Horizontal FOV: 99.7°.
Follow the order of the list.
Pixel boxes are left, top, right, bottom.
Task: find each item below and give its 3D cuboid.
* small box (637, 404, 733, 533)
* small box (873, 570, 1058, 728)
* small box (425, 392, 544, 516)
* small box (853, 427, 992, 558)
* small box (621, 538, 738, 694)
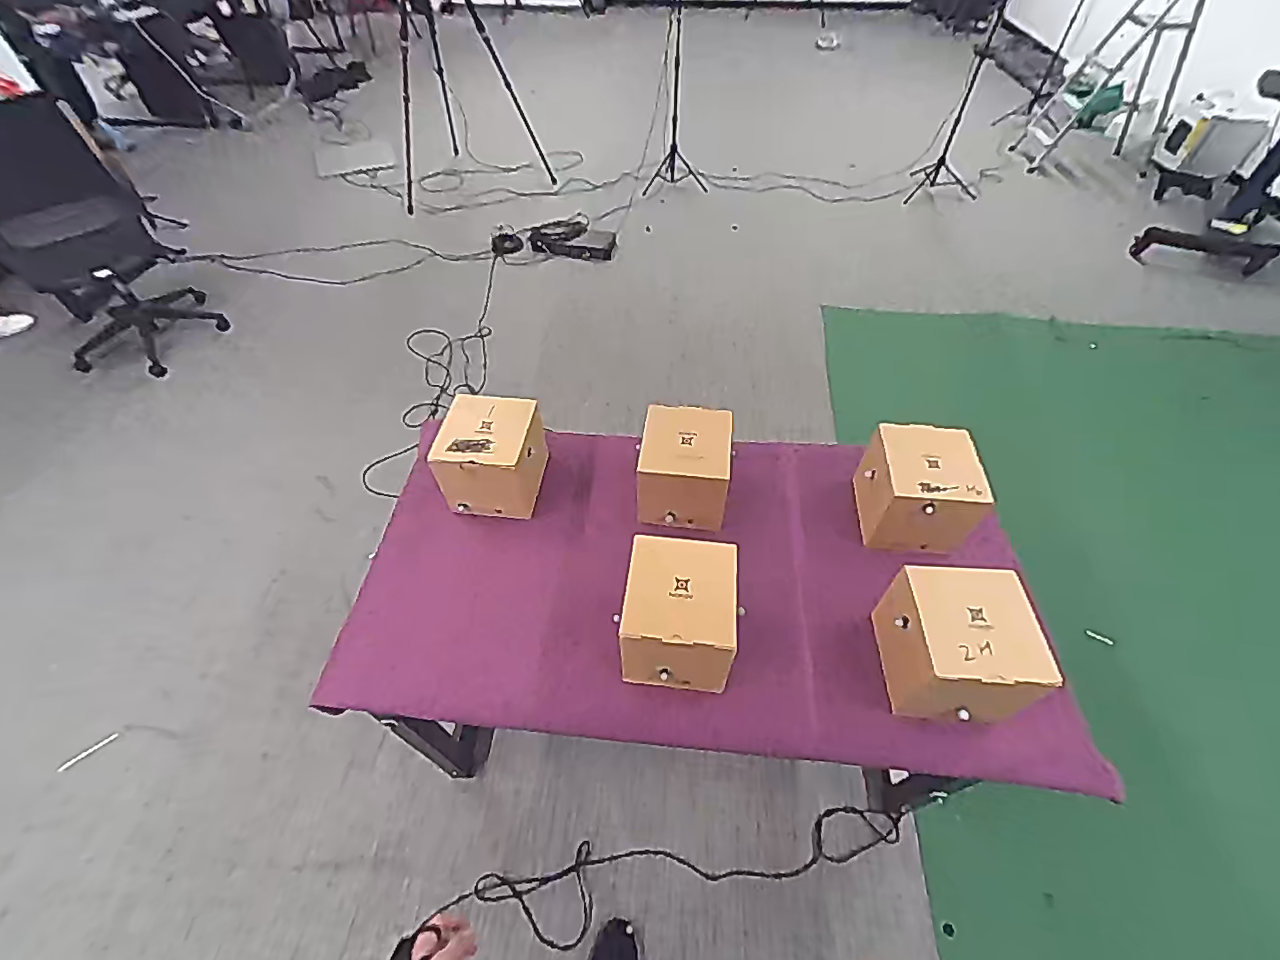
[{"bbox_3d":[0.085,-0.022,1.053,0.168,0.176,0.179,6,53,5],"label":"small box"},{"bbox_3d":[0.477,0.260,0.830,0.168,0.176,0.179,3,51,3],"label":"small box"},{"bbox_3d":[-0.292,-0.048,1.061,0.168,0.176,0.179,6,52,3],"label":"small box"},{"bbox_3d":[0.517,0.025,1.021,0.168,0.176,0.179,5,52,4],"label":"small box"},{"bbox_3d":[0.060,0.218,0.861,0.168,0.176,0.179,6,51,3],"label":"small box"}]
